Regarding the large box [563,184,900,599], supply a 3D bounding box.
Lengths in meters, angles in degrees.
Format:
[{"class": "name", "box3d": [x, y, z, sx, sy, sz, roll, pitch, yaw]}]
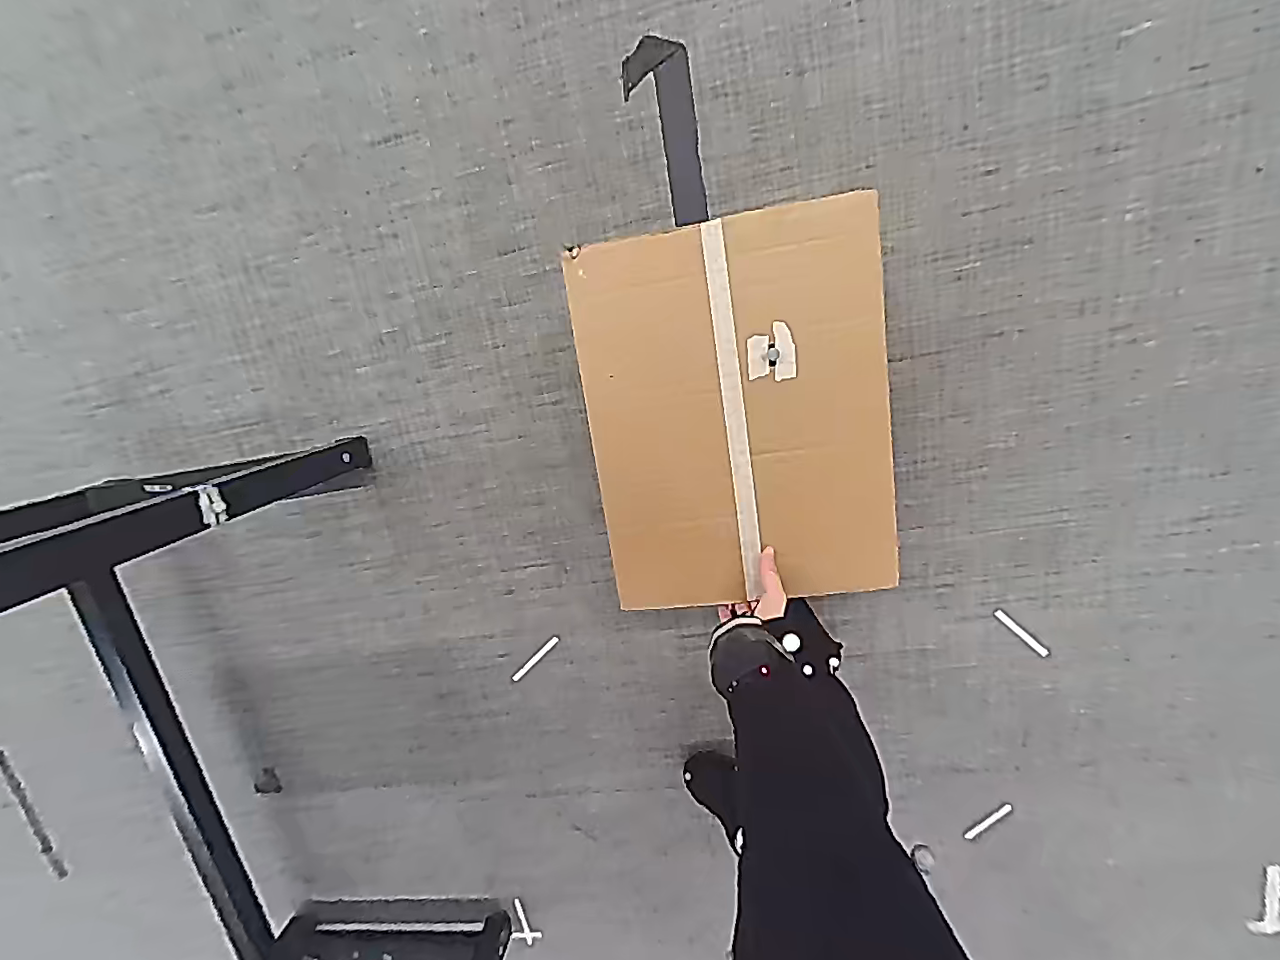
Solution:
[{"class": "large box", "box3d": [0.122, -0.100, 0.714, 0.320, 0.320, 0.408, -7, 100, 9]}]
